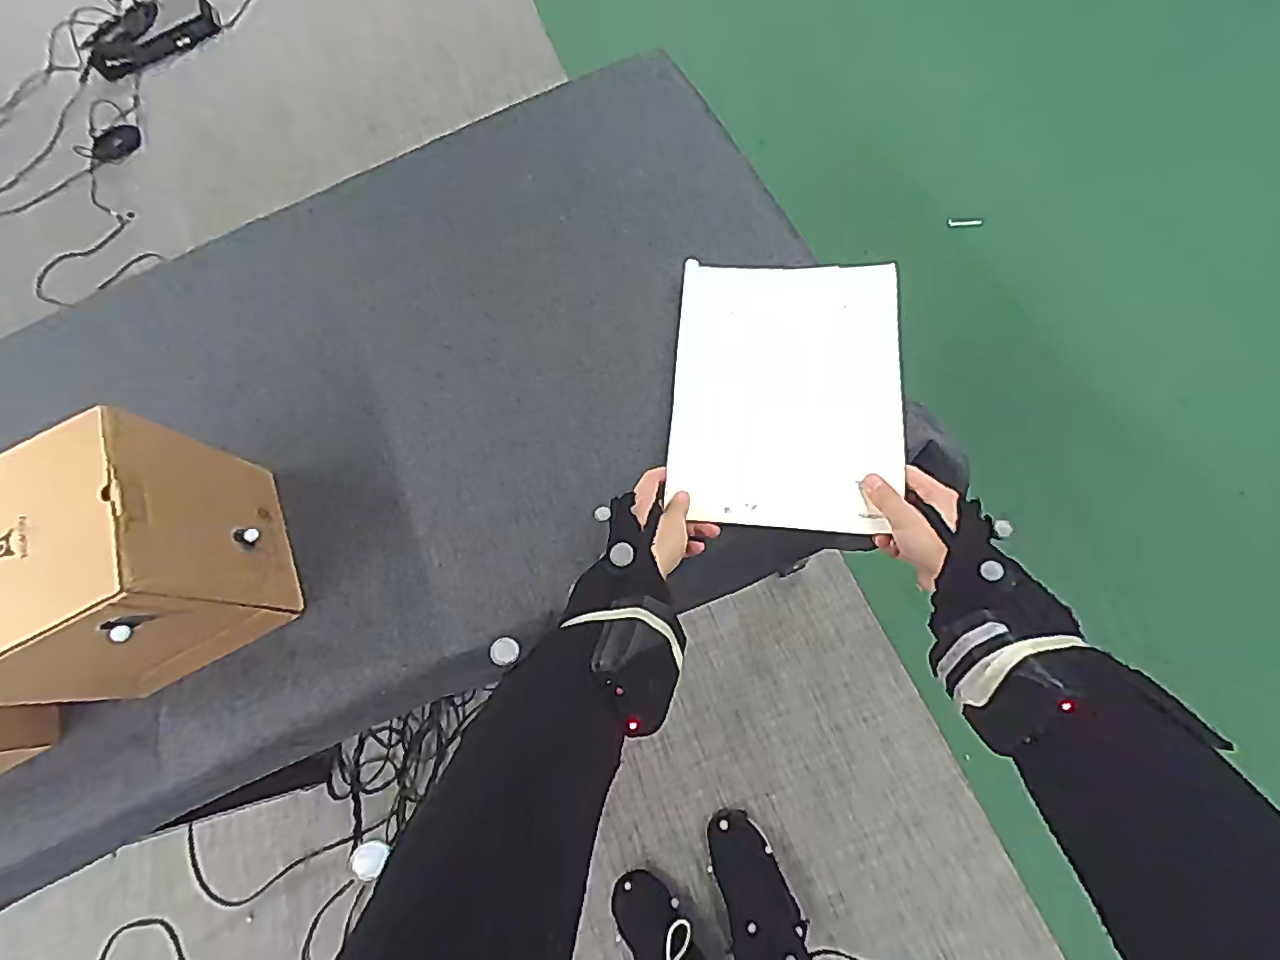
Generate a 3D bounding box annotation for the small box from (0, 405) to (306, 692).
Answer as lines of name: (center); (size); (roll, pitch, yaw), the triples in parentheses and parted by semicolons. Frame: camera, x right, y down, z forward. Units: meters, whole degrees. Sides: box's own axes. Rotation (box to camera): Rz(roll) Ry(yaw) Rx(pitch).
small box: (-0.439, 0.072, 0.470); (0.179, 0.176, 0.168); (-28, 69, -1)
